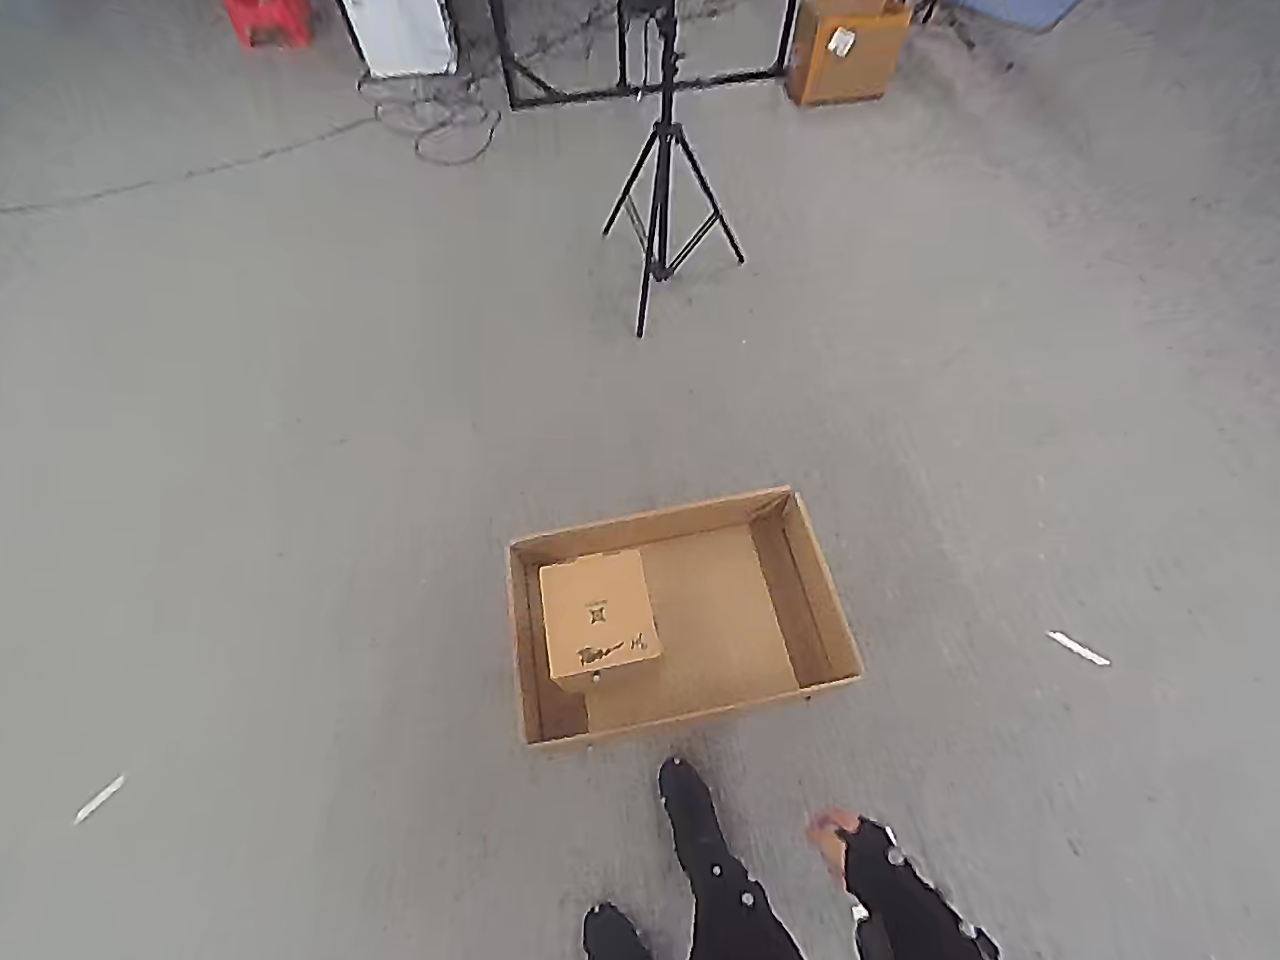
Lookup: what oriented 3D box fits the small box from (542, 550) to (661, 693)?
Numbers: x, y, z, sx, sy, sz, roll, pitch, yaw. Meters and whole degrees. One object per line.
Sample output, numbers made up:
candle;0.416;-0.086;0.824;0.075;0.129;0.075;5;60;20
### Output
small box;-0.062;0.239;0.899;0.168;0.176;0.179;-10;61;-3
